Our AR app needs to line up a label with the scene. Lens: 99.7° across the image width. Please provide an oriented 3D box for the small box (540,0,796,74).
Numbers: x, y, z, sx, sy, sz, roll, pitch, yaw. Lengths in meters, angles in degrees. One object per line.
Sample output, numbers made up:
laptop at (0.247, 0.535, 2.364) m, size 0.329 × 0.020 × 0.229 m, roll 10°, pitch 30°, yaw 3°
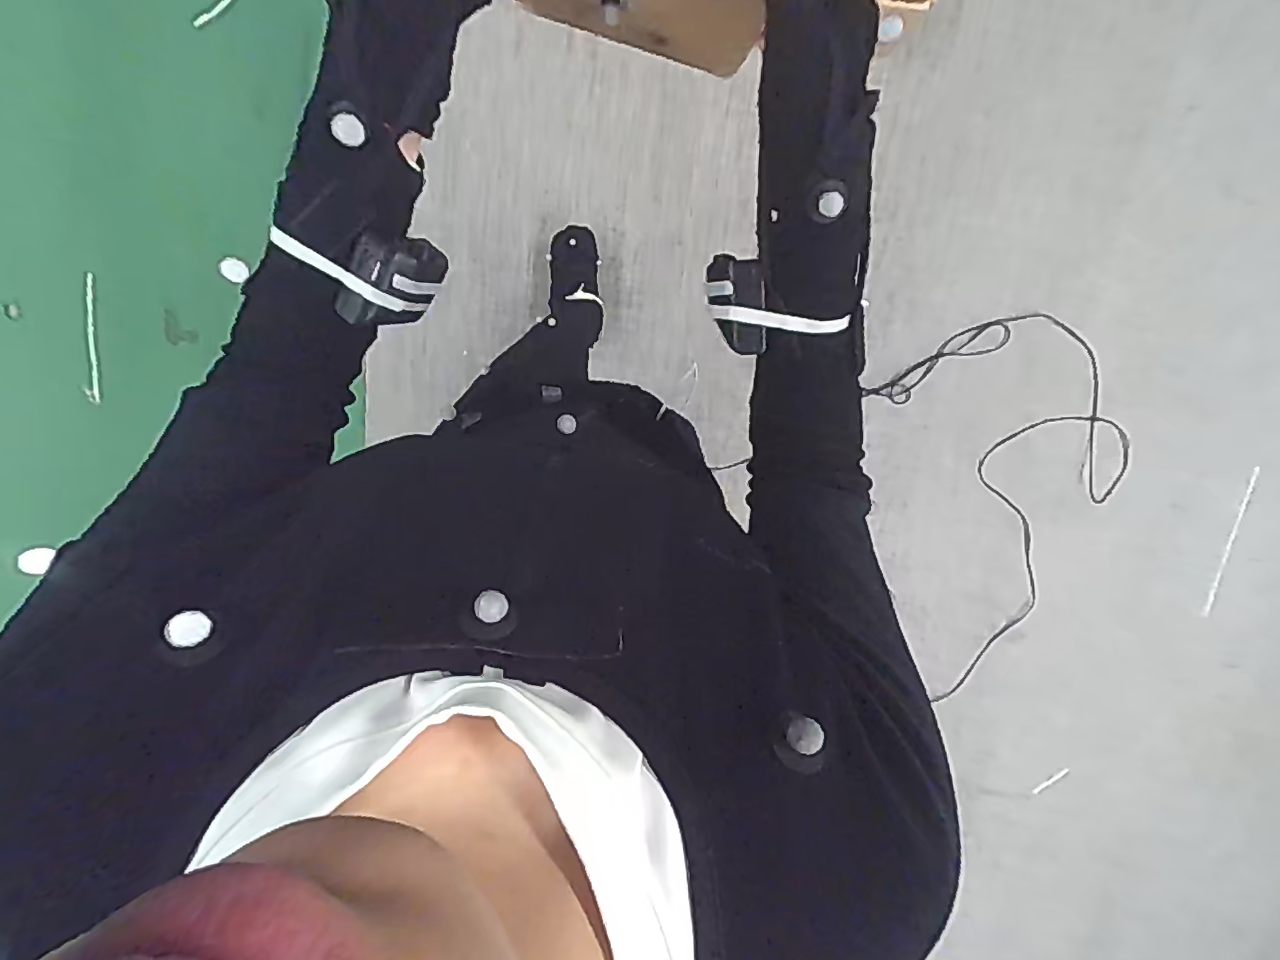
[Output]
small box at (0.025, -0.369, 0.291) m, size 0.168 × 0.176 × 0.179 m, roll 12°, pitch 109°, yaw -9°
